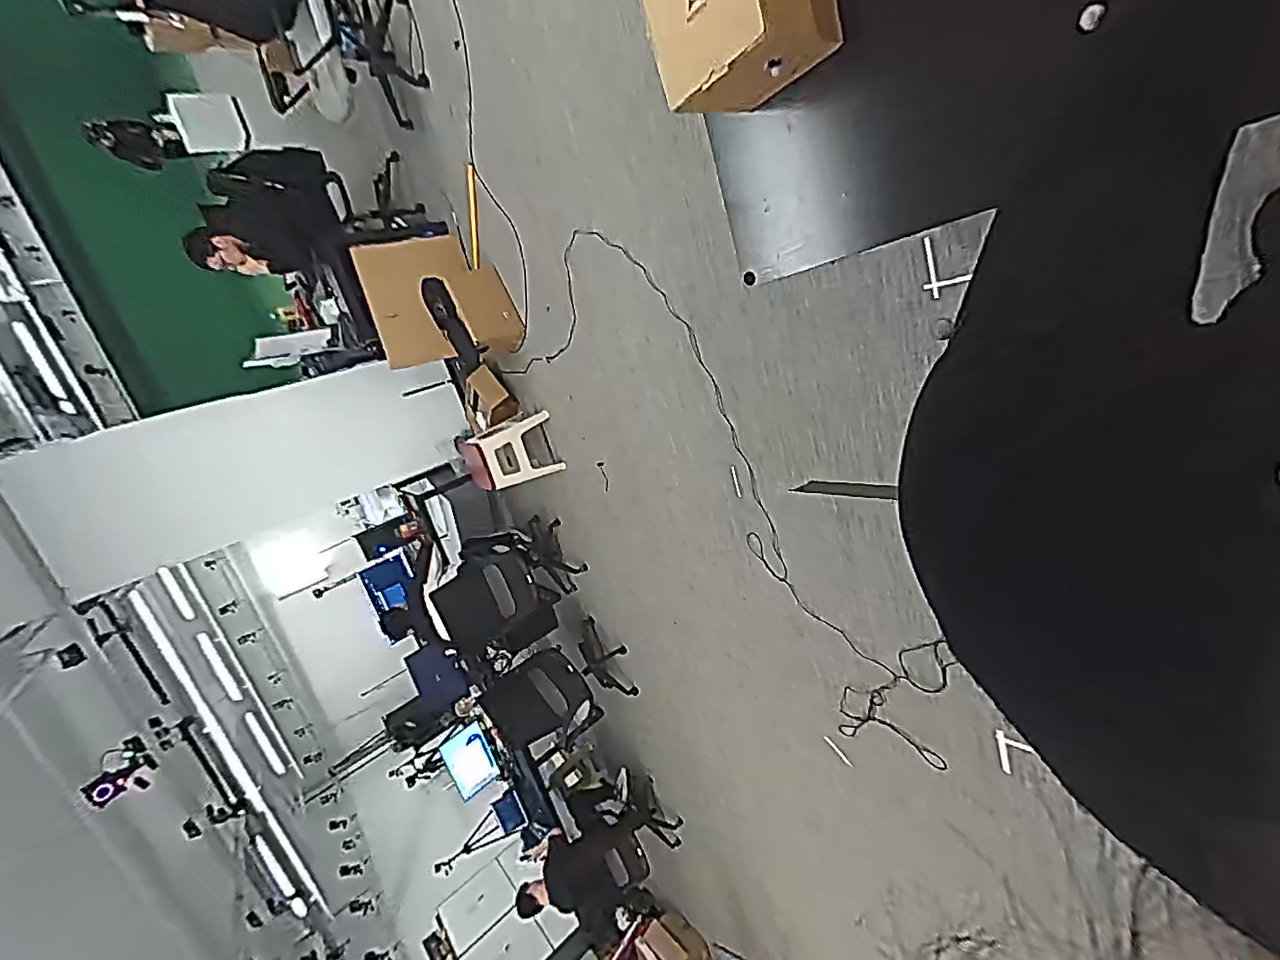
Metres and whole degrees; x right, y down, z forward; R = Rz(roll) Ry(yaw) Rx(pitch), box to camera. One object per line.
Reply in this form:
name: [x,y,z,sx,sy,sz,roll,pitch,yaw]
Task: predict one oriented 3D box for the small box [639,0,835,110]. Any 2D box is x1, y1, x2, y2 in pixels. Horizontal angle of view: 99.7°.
small box: [0.123,-0.607,0.686,0.168,0.176,0.179,0,112,53]
